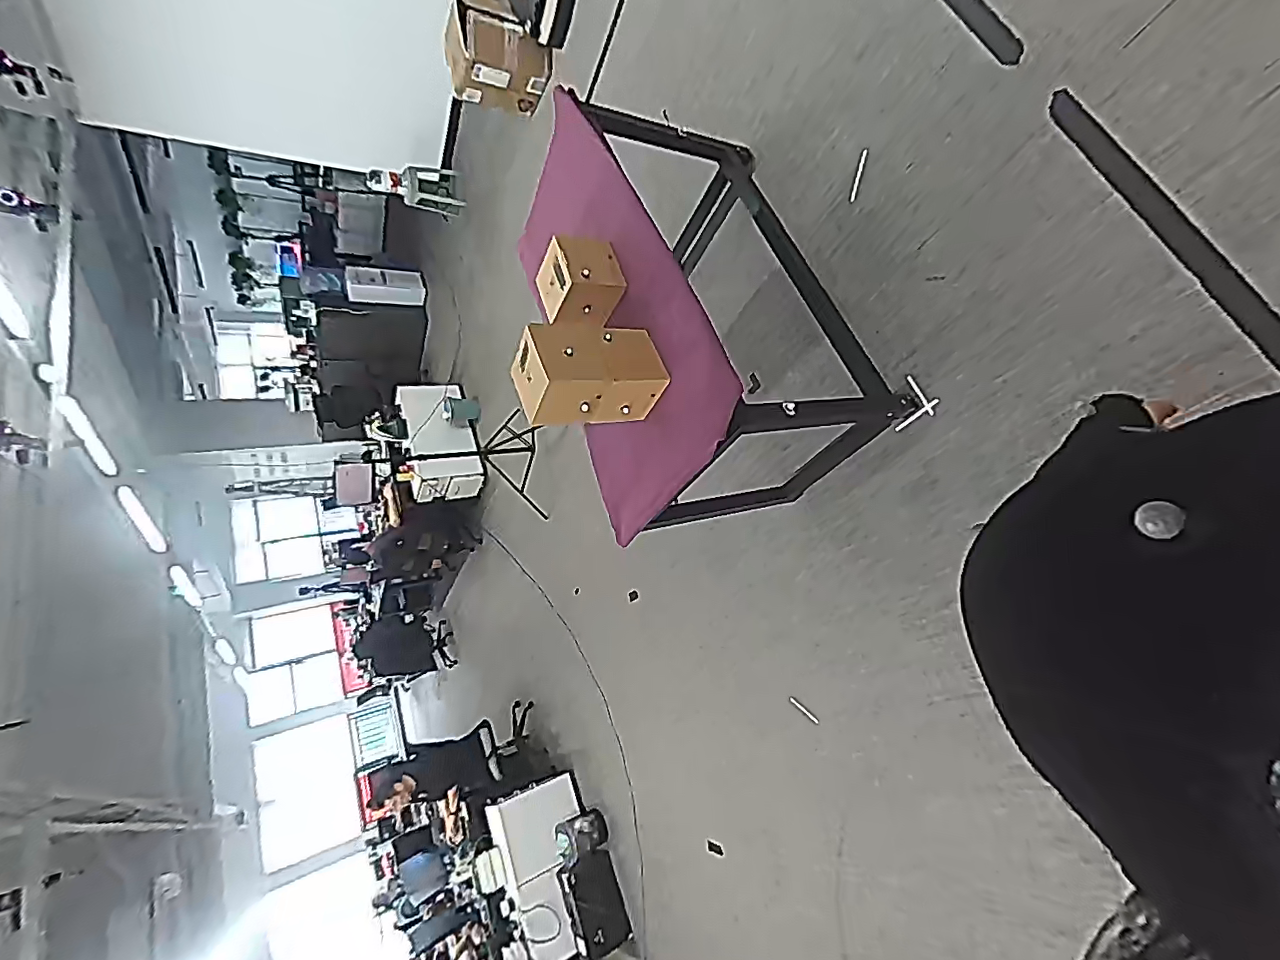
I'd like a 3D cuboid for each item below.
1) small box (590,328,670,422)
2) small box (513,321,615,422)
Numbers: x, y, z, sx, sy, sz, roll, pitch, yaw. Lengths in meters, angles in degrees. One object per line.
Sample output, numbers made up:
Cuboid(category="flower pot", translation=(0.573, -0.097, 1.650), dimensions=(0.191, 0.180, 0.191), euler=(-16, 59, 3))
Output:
Cuboid(category="small box", translation=(-0.048, -0.271, 1.386), dimensions=(0.168, 0.176, 0.179), euler=(-53, 53, 48))
Cuboid(category="small box", translation=(-0.184, -0.256, 1.295), dimensions=(0.168, 0.176, 0.179), euler=(-53, 53, 49))
